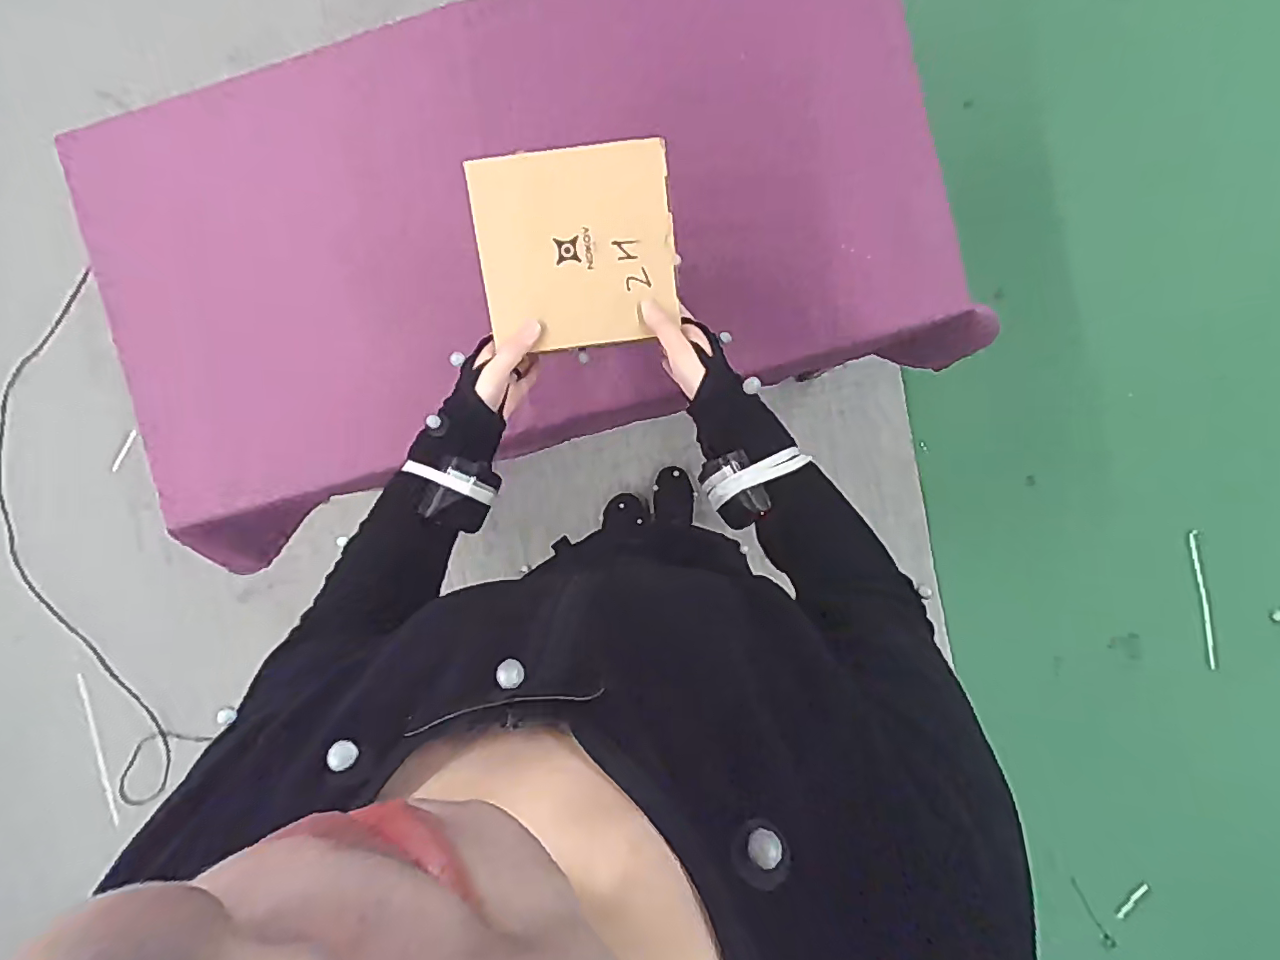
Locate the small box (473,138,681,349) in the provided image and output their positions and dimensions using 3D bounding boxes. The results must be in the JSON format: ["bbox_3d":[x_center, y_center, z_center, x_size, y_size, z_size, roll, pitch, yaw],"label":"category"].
[{"bbox_3d":[-0.053,-0.227,0.563,0.179,0.176,0.168,-5,104,1],"label":"small box"}]
